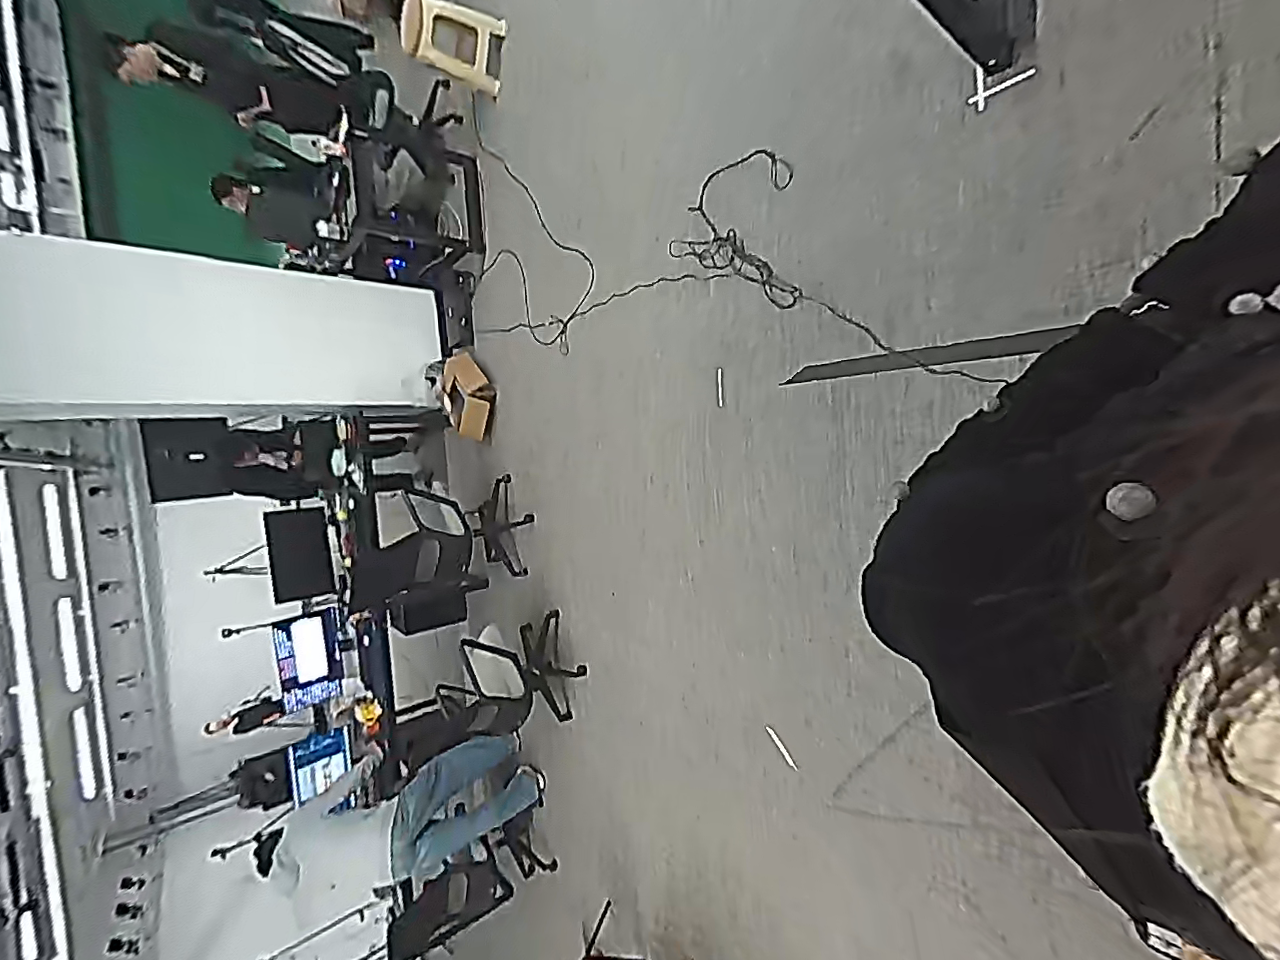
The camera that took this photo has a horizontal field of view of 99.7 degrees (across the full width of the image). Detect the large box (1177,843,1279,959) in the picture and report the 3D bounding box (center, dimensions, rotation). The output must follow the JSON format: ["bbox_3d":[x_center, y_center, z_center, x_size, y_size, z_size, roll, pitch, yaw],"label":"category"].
[{"bbox_3d":[1.032,0.807,0.739,0.408,0.320,0.320,0,95,49],"label":"large box"}]
